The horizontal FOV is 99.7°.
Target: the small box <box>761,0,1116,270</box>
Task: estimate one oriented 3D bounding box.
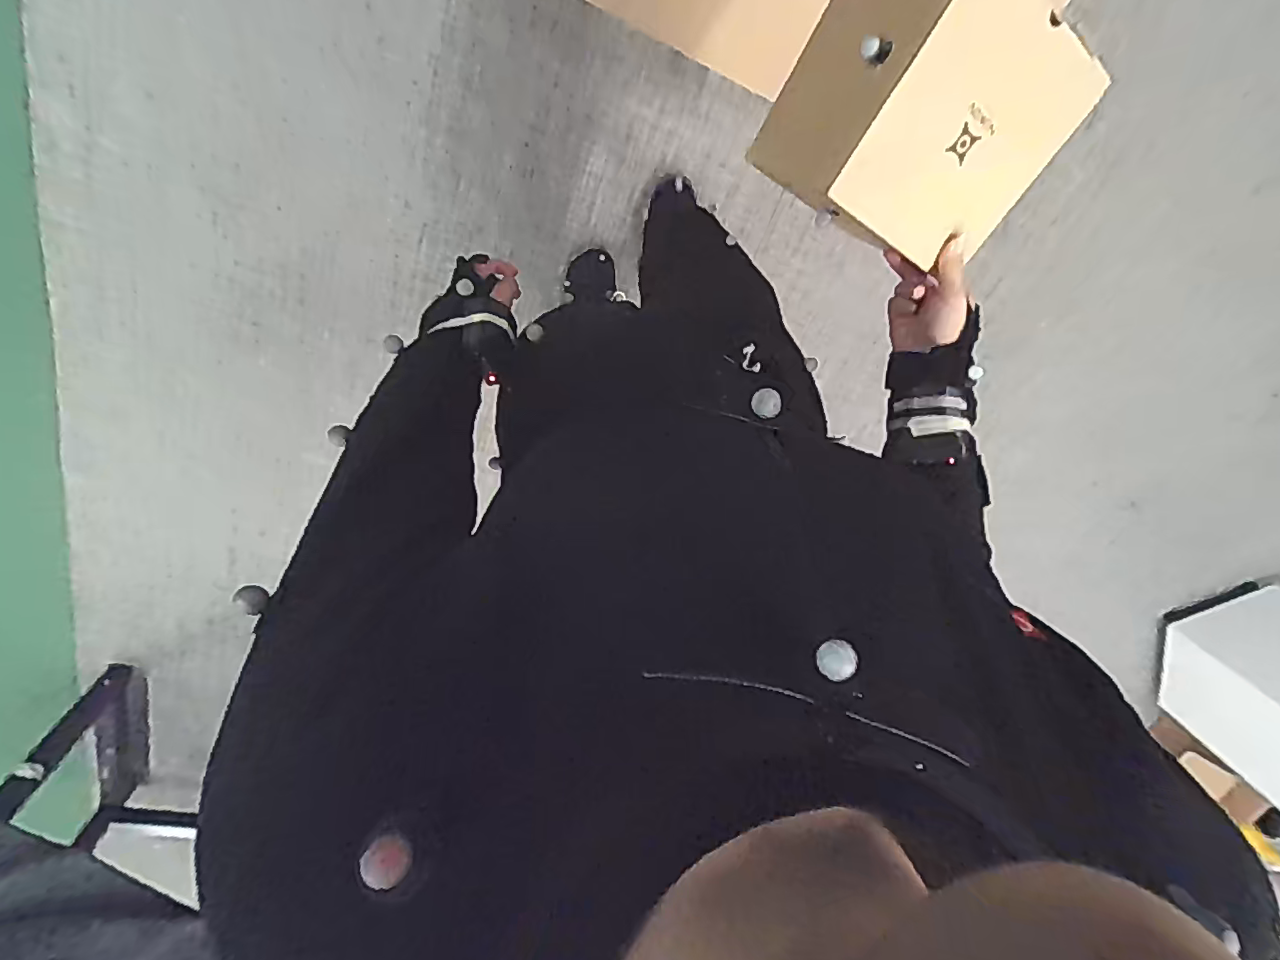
[{"bbox_3d":[0.228,-0.319,0.466,0.168,0.176,0.179,17,120,-27],"label":"small box"}]
